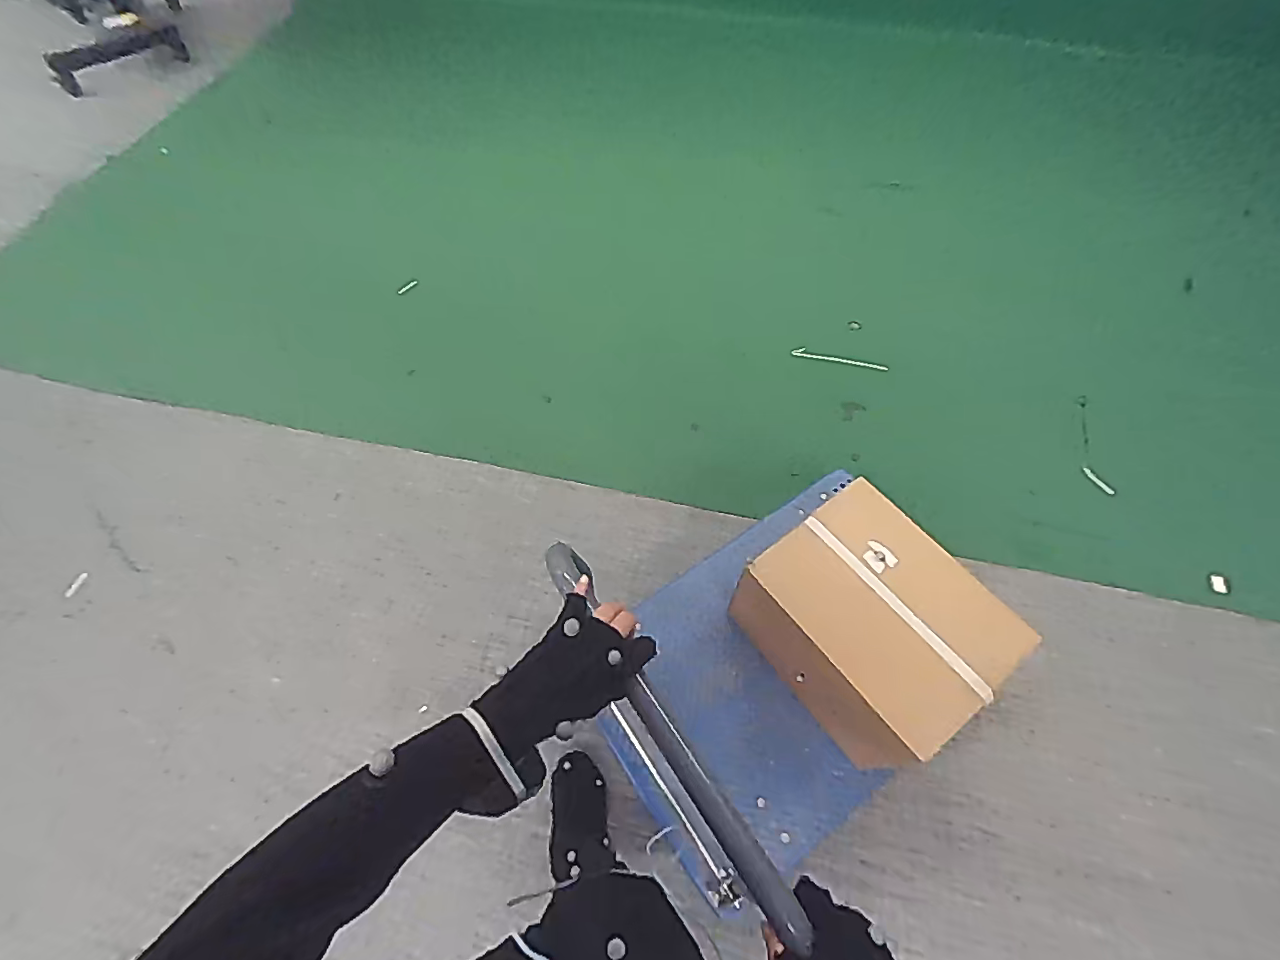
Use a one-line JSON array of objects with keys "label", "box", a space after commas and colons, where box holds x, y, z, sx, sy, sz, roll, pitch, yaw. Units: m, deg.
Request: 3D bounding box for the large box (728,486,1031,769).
[{"label": "large box", "box": [0.434, 0.298, 1.086, 0.320, 0.320, 0.408, -33, 64, -17]}]
